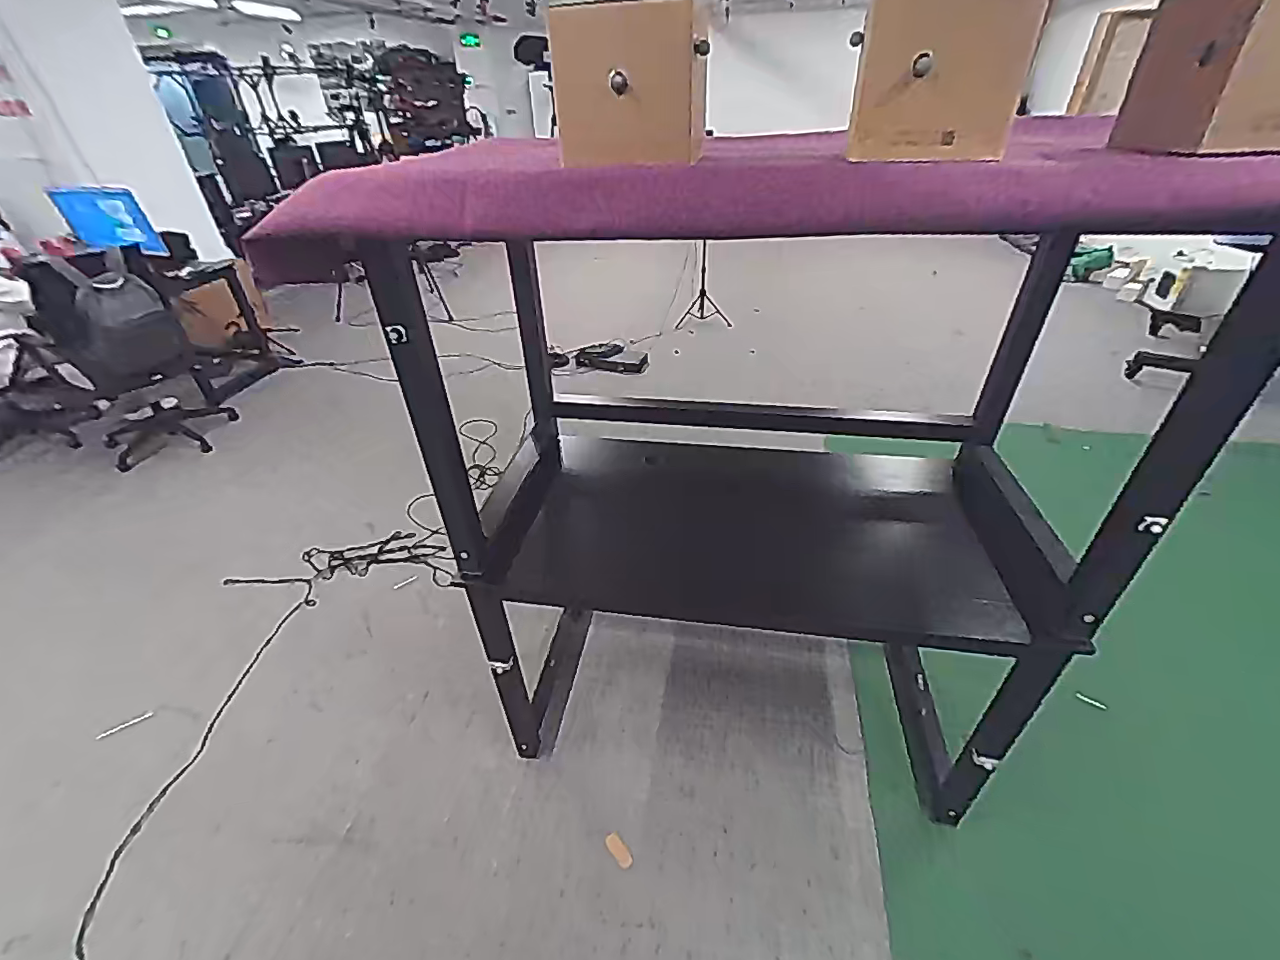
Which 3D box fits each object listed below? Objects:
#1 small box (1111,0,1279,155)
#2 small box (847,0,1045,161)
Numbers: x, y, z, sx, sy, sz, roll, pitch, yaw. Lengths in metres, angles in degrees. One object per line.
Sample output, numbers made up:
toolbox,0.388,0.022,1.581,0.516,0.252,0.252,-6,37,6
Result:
small box,0.689,-0.463,0.599,0.168,0.176,0.179,4,33,8
small box,0.351,-0.483,0.648,0.168,0.176,0.179,8,35,14
